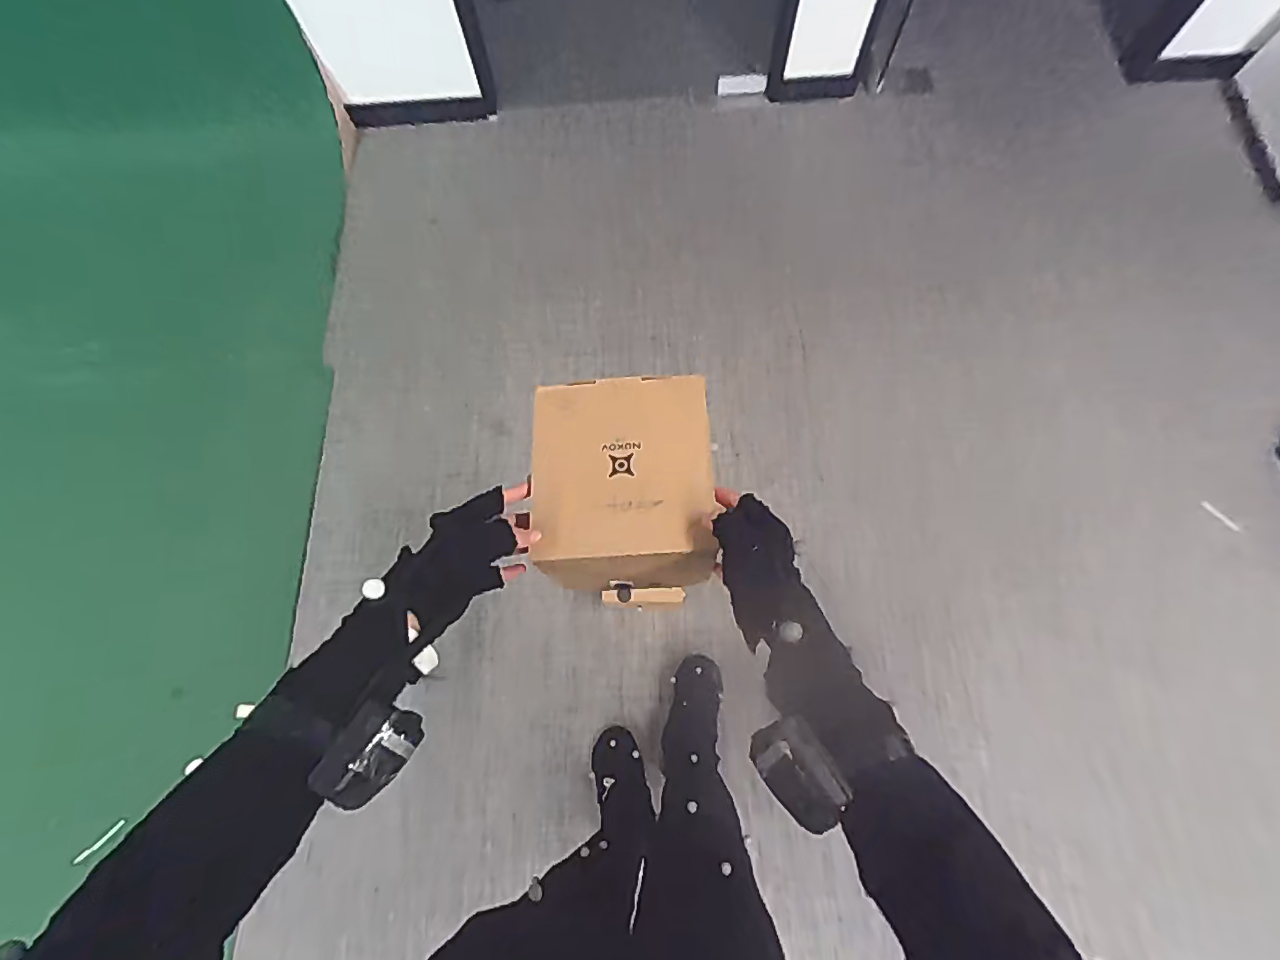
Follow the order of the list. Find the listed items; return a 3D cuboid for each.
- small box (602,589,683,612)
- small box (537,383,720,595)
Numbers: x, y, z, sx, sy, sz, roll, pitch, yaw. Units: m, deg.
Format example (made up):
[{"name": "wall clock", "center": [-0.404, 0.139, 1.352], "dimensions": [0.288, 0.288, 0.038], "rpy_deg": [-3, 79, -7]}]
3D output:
[{"name": "small box", "center": [0.009, 0.215, 1.263], "dimensions": [0.179, 0.176, 0.168], "rpy_deg": [-1, 71, 2]}, {"name": "small box", "center": [-0.009, 0.018, 0.580], "dimensions": [0.168, 0.176, 0.179], "rpy_deg": [-4, 69, 3]}]
